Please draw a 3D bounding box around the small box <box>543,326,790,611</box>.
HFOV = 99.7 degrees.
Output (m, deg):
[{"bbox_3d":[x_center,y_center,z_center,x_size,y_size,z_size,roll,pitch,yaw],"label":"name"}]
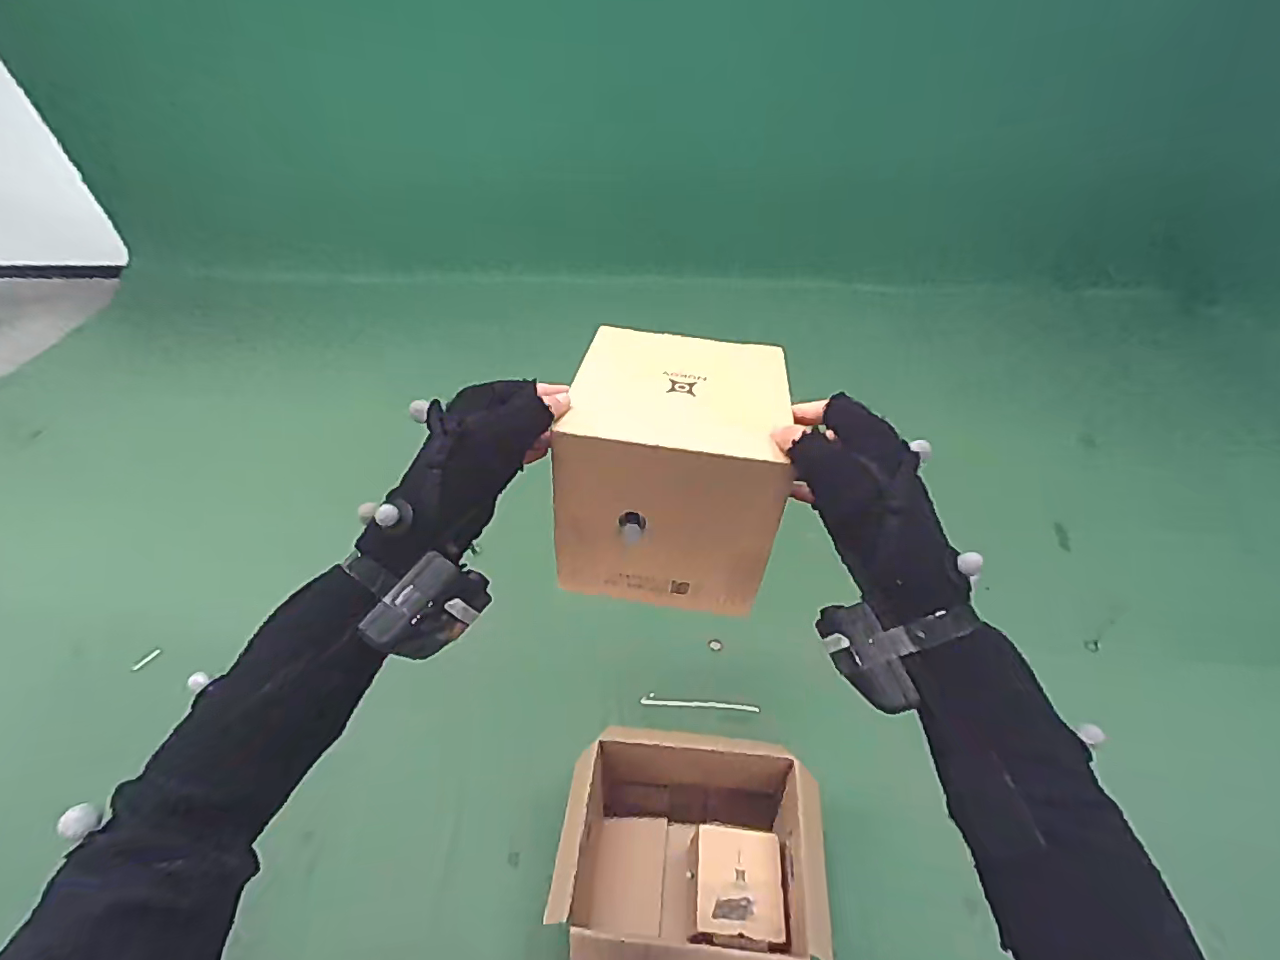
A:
[{"bbox_3d":[0.023,-0.012,0.464,0.168,0.176,0.179,8,38,3],"label":"small box"}]
